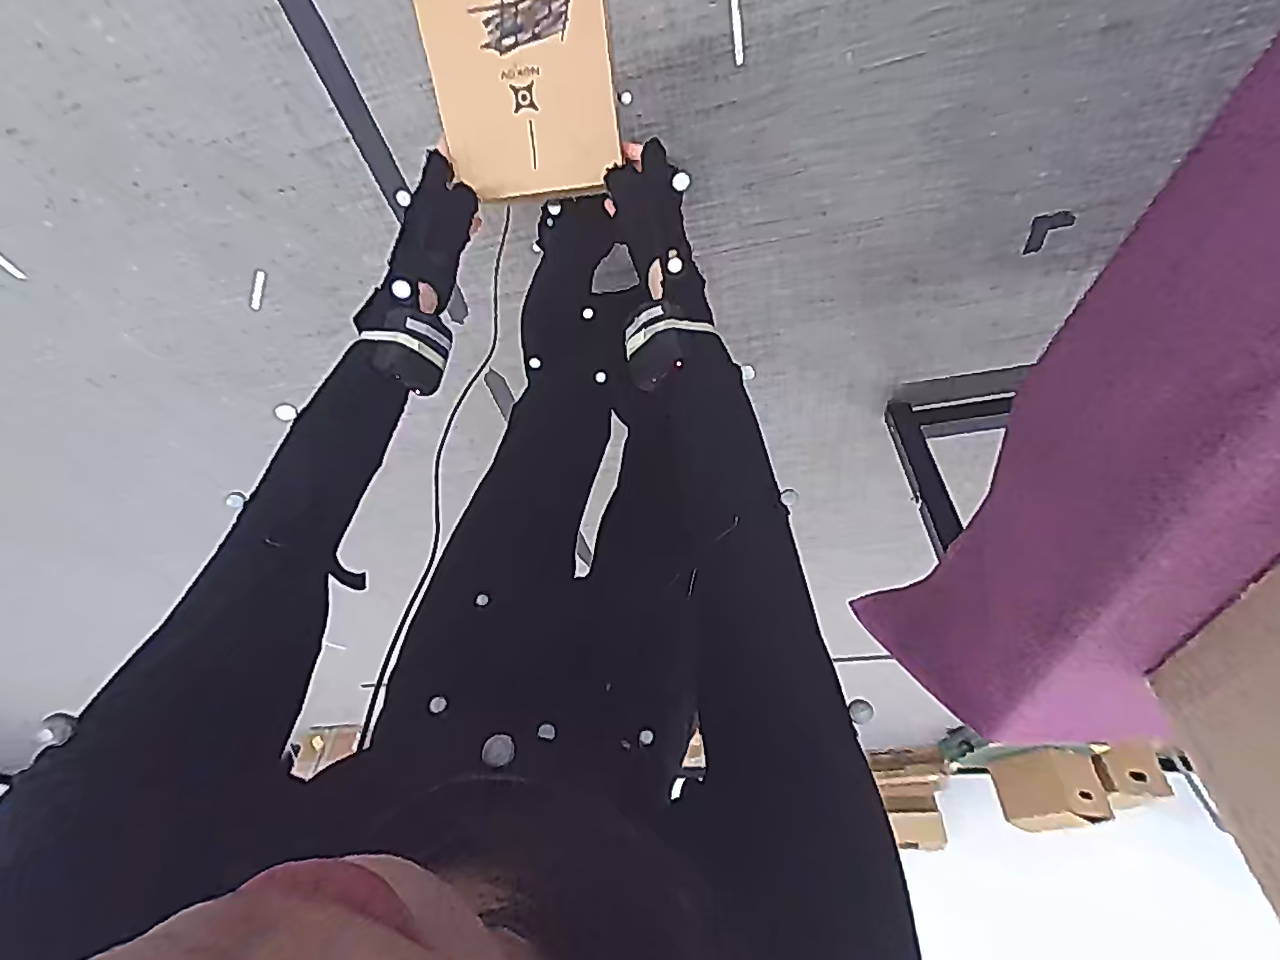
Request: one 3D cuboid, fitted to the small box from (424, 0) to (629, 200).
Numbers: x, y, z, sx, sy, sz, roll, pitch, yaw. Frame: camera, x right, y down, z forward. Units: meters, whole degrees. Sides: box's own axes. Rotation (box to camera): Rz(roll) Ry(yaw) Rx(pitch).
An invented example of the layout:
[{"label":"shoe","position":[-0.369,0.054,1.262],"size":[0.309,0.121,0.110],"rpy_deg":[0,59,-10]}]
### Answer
[{"label":"small box","position":[-0.101,-0.399,0.562],"size":[0.168,0.176,0.179],"rpy_deg":[-6,116,2]}]
